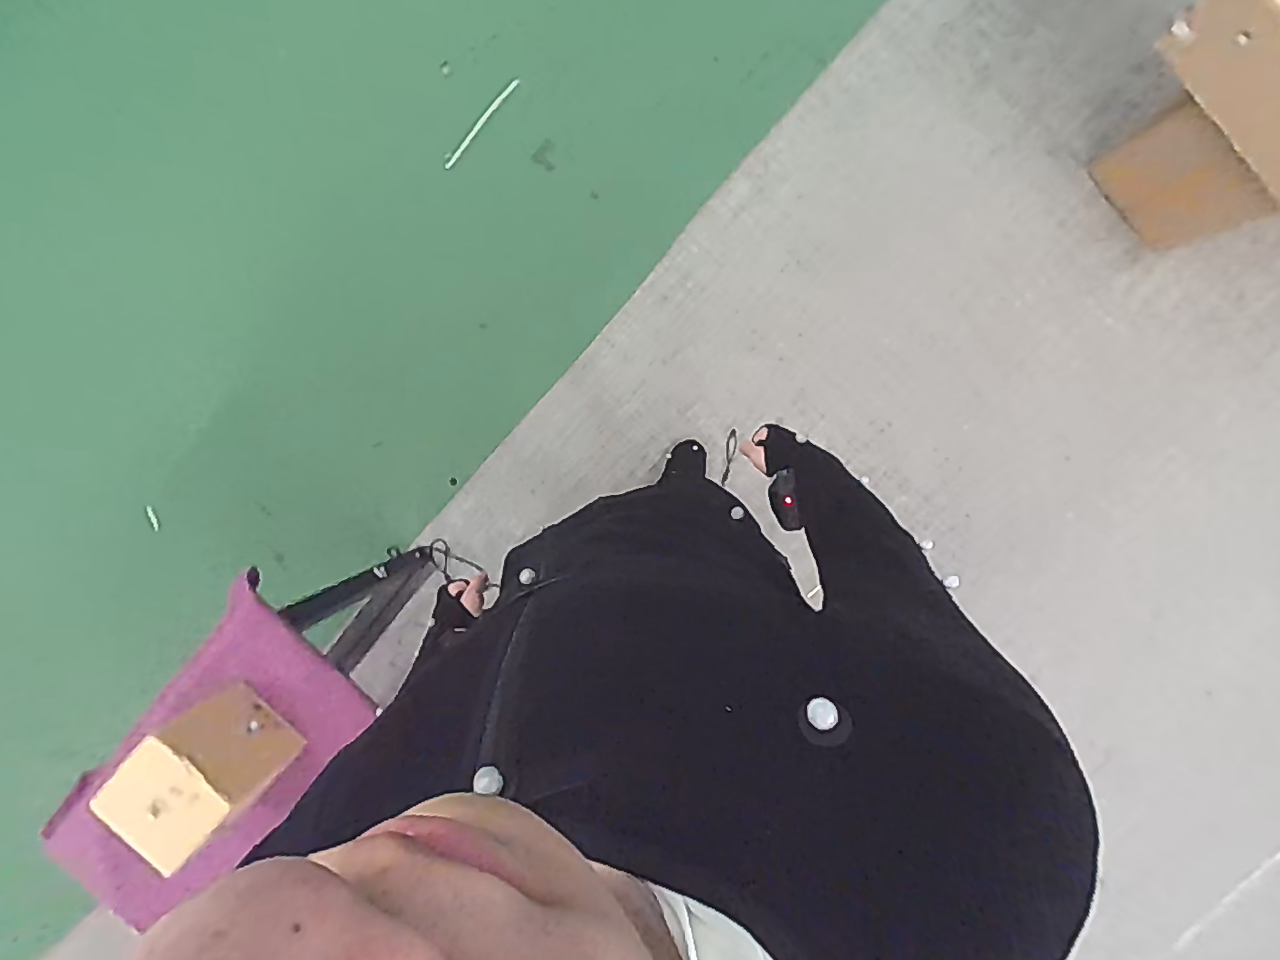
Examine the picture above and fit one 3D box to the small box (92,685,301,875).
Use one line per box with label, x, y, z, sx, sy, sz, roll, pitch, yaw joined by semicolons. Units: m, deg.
small box;-0.715;0.482;0.894;0.168;0.176;0.179;44;97;-2
